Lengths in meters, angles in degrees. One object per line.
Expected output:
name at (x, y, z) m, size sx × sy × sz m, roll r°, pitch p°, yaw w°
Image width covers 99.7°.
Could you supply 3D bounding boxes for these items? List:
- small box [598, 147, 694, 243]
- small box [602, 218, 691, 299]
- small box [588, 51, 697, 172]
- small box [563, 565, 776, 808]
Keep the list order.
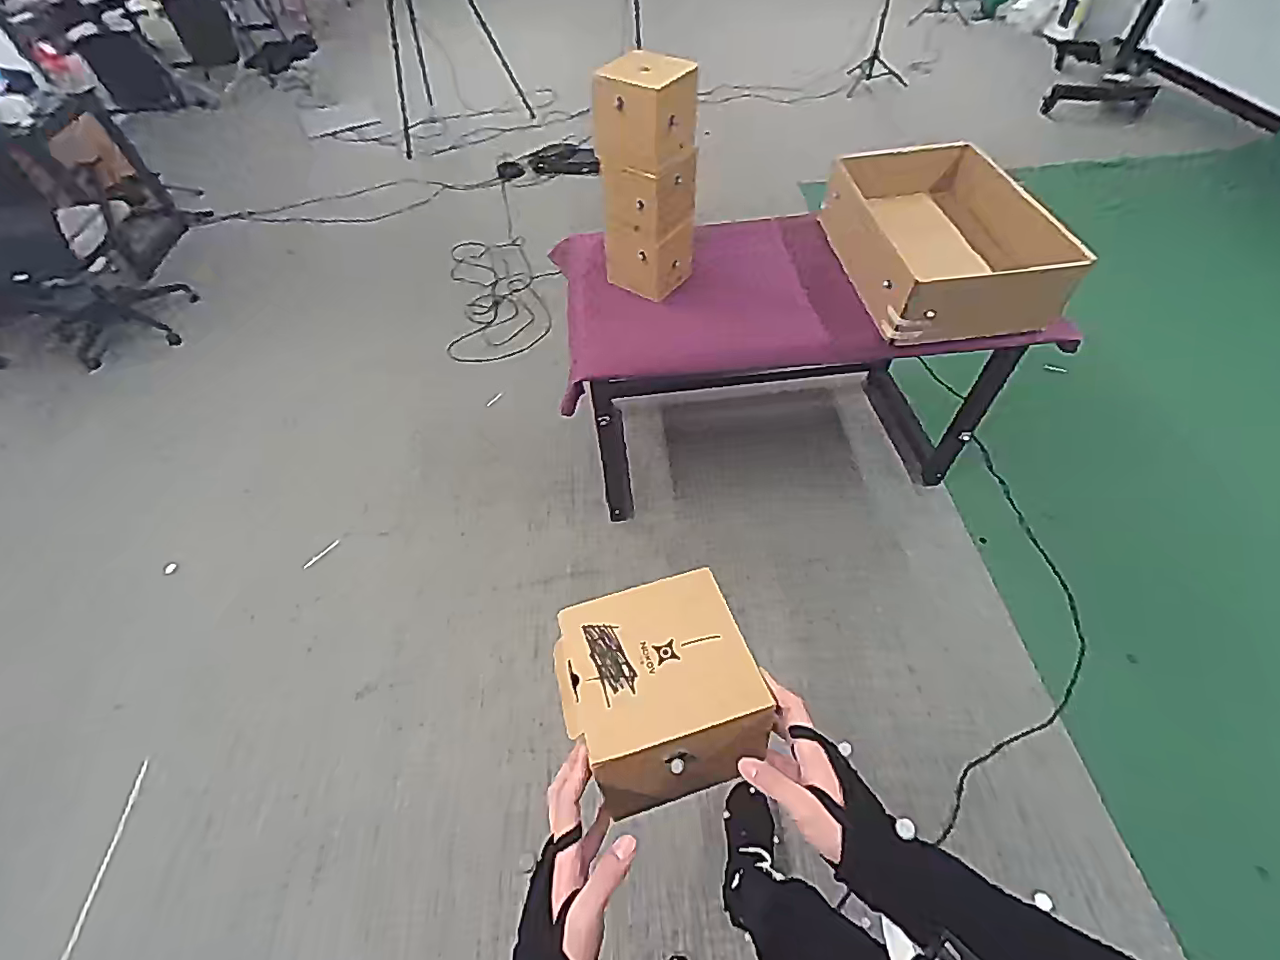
small box at (0.019, -0.717, 1.333) m, size 0.168 × 0.176 × 0.179 m, roll 31°, pitch 60°, yaw 21°
small box at (0.019, -0.616, 1.460) m, size 0.179 × 0.176 × 0.168 m, roll 30°, pitch 59°, yaw 22°
small box at (0.008, -0.814, 1.204) m, size 0.179 × 0.176 × 0.168 m, roll 29°, pitch 60°, yaw 21°
small box at (0.028, 0.225, 0.589) m, size 0.179 × 0.176 × 0.168 m, roll -14°, pitch 45°, yaw -9°
